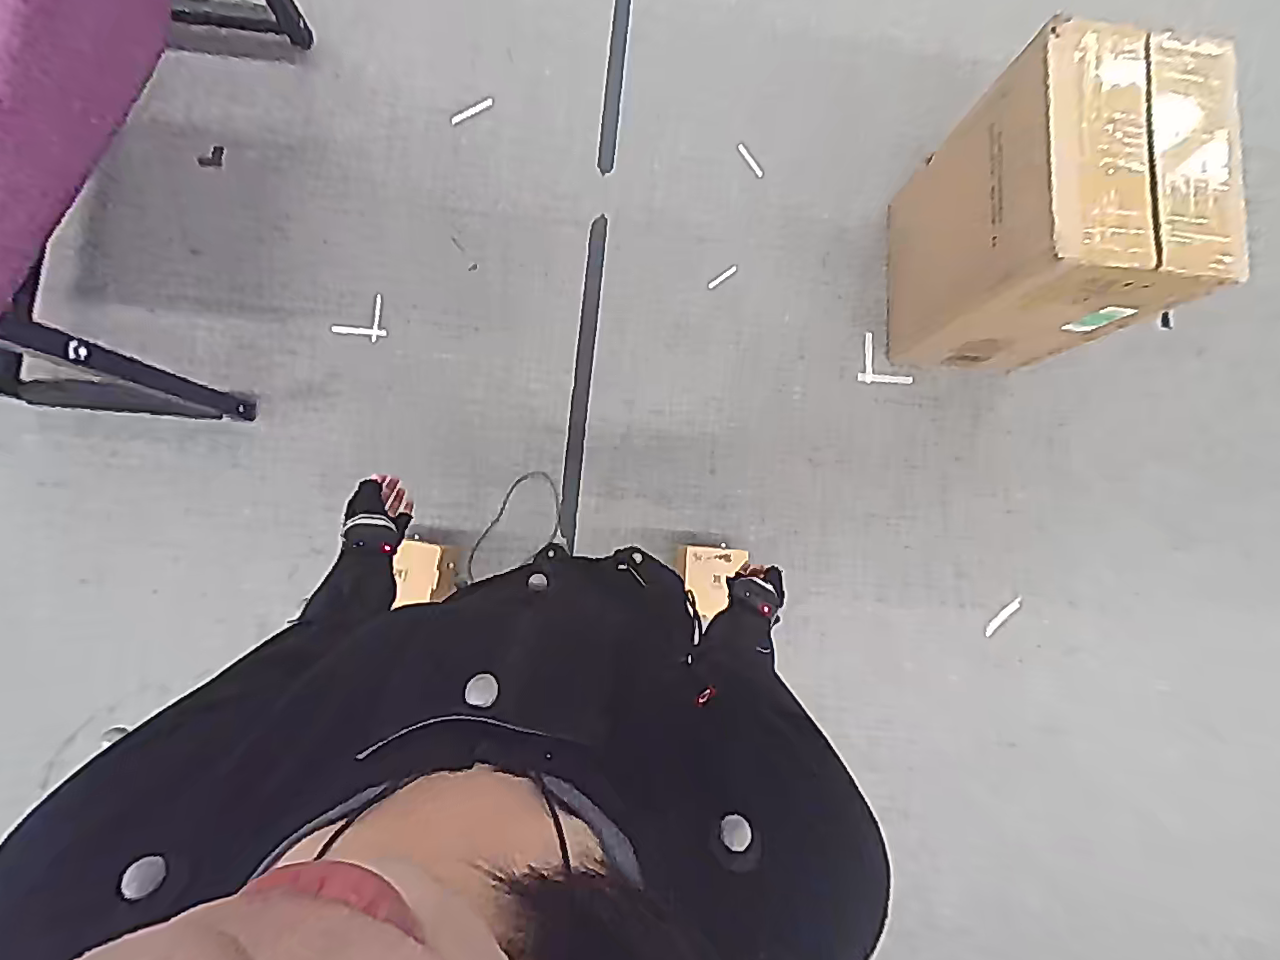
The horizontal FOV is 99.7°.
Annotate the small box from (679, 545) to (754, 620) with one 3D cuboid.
[{"bbox_3d":[0.201,0.272,1.462,0.168,0.176,0.179,5,84,-4],"label":"small box"}]

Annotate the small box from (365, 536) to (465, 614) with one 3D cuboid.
[{"bbox_3d":[-0.576,0.244,1.410,0.179,0.176,0.168,10,81,0],"label":"small box"}]
